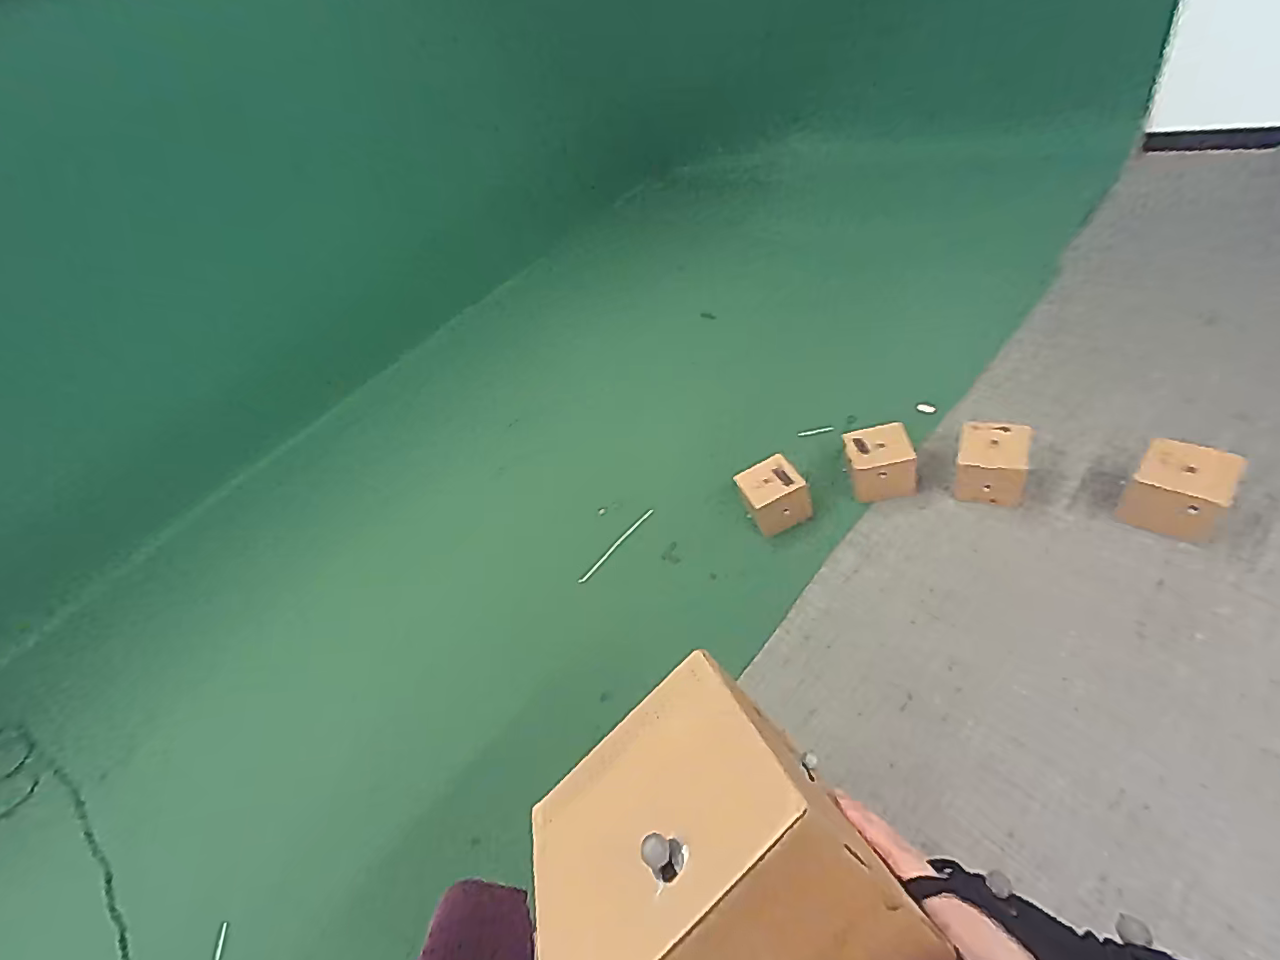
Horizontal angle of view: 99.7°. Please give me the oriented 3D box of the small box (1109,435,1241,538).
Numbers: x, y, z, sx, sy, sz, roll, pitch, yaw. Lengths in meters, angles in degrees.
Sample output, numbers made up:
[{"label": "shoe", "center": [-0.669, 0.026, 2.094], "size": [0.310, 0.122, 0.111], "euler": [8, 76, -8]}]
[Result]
[{"label": "small box", "center": [1.343, 0.021, 1.367], "size": [0.179, 0.176, 0.168], "euler": [27, 65, 40]}]

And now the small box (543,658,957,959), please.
[{"label": "small box", "center": [0.051, 0.258, 0.353], "size": [0.179, 0.168, 0.176], "euler": [-42, 15, -3]}]

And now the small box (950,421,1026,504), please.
[{"label": "small box", "center": [1.020, -0.050, 1.590], "size": [0.168, 0.176, 0.179], "euler": [9, 55, 32]}]

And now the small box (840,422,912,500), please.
[{"label": "small box", "center": [0.751, -0.054, 1.722], "size": [0.179, 0.176, 0.168], "euler": [-12, 46, 14]}]
